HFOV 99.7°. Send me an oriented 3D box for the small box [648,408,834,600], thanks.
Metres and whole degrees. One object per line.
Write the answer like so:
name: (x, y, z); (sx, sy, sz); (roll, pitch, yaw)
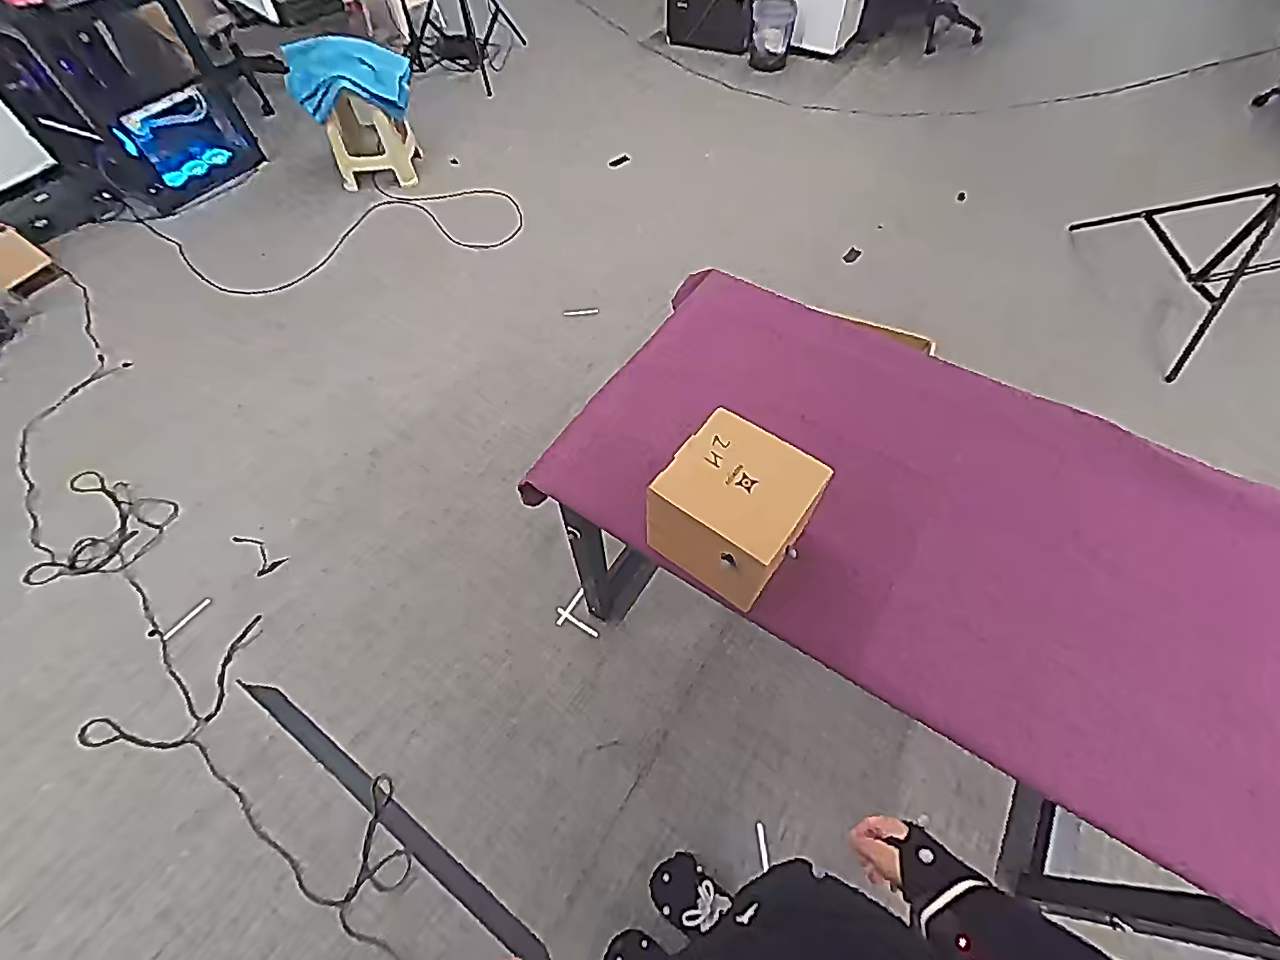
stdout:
small box: (0.128, 0.042, 0.739); (0.179, 0.176, 0.168); (33, 64, 20)
